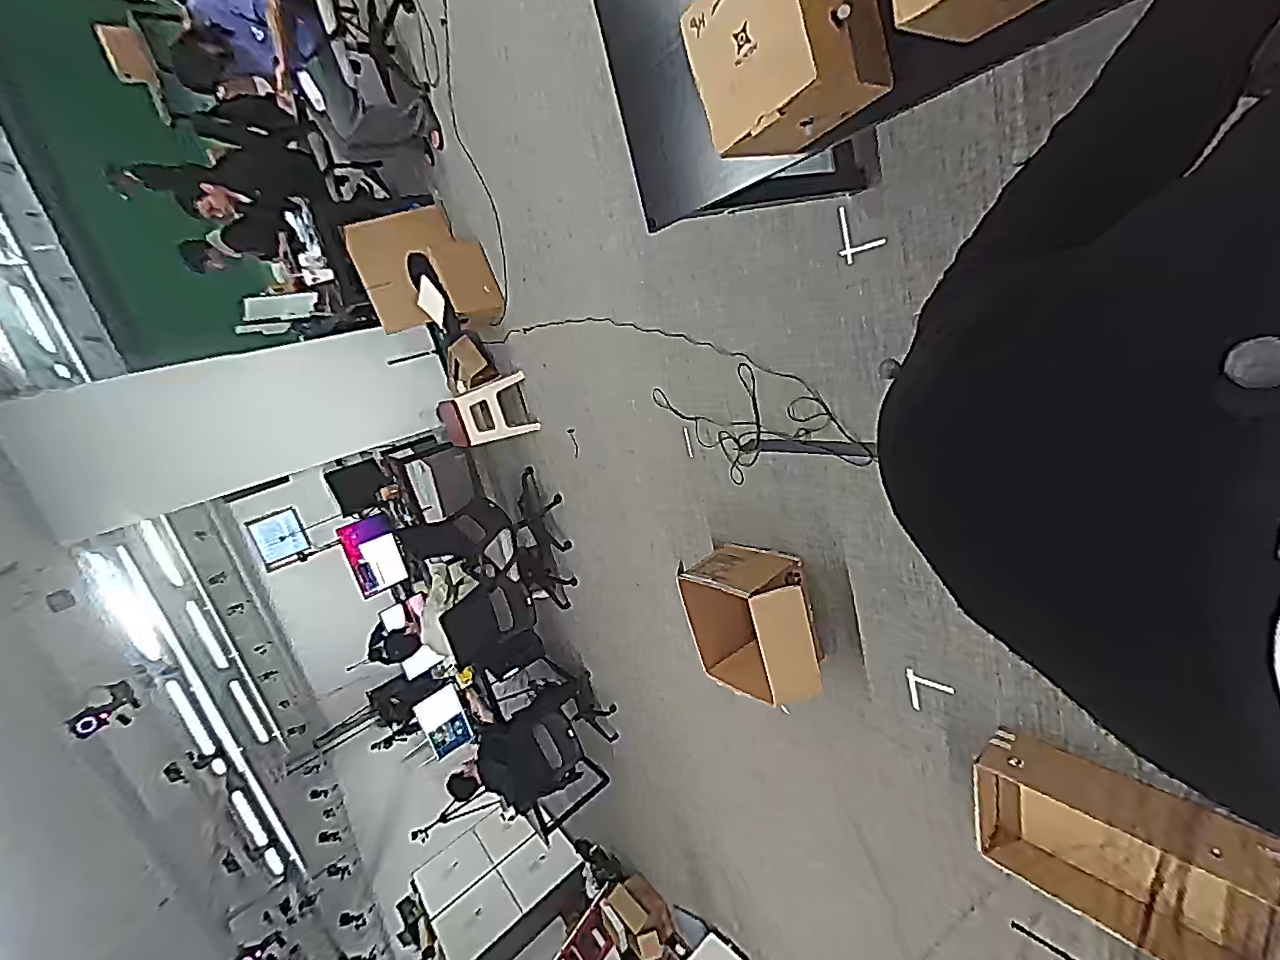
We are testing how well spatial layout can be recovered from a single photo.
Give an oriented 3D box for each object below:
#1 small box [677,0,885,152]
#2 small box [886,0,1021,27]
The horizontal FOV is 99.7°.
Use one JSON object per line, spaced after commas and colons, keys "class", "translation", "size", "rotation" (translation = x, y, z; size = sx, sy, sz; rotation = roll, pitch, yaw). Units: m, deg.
{"class": "small box", "translation": [0.181, -0.551, 0.685], "size": [0.168, 0.176, 0.179], "rotation": [-3, 109, 55]}
{"class": "small box", "translation": [0.333, -0.544, 0.477], "size": [0.179, 0.176, 0.168], "rotation": [4, 115, 53]}
